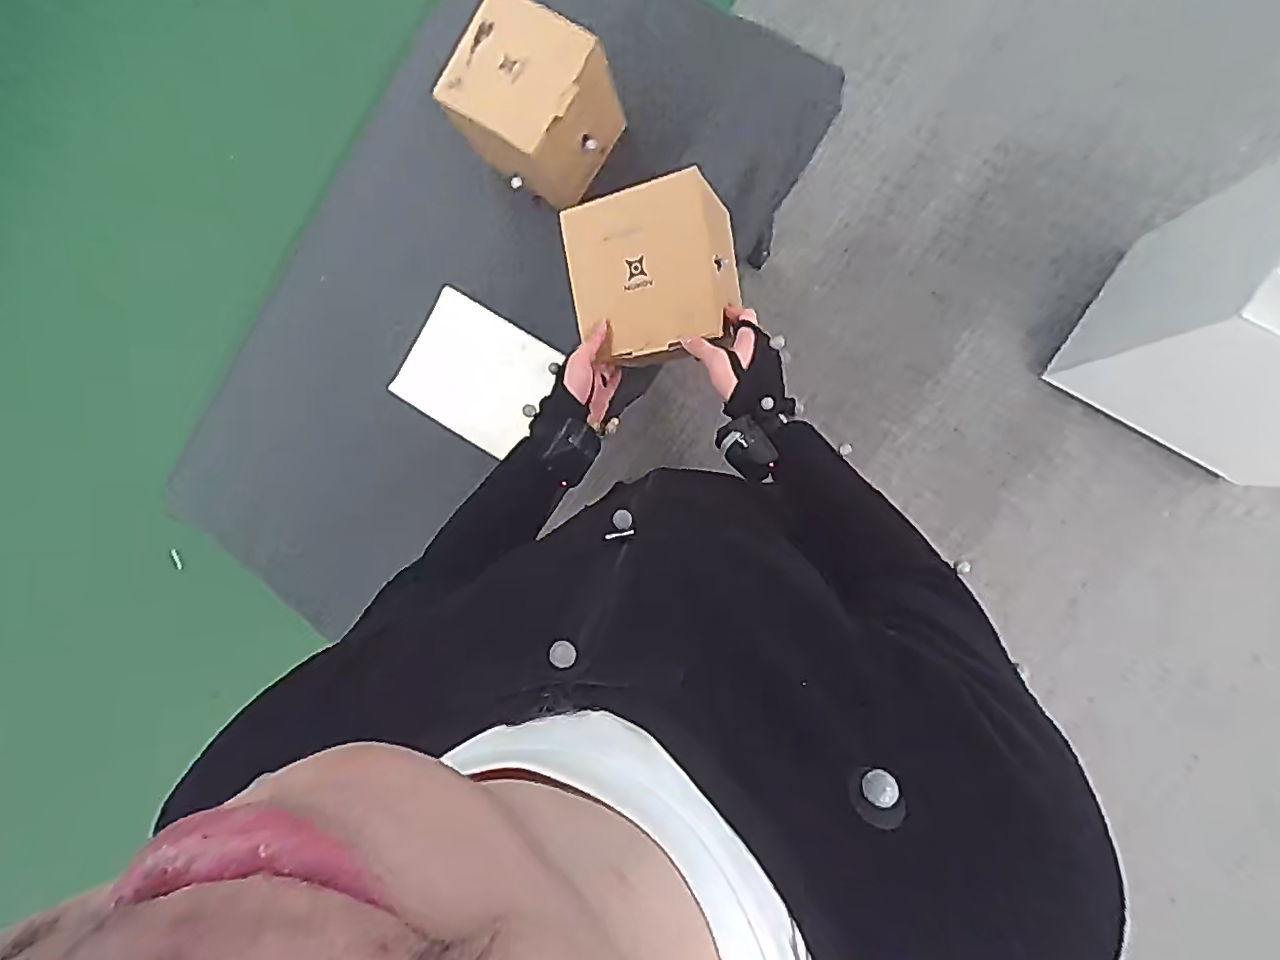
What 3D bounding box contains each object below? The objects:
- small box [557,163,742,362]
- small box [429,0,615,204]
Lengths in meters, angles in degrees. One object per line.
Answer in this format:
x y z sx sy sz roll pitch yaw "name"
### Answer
0.022 -0.244 0.662 0.168 0.176 0.179 -7 96 21 "small box"
-0.158 -0.539 0.788 0.179 0.176 0.168 35 96 6 "small box"
